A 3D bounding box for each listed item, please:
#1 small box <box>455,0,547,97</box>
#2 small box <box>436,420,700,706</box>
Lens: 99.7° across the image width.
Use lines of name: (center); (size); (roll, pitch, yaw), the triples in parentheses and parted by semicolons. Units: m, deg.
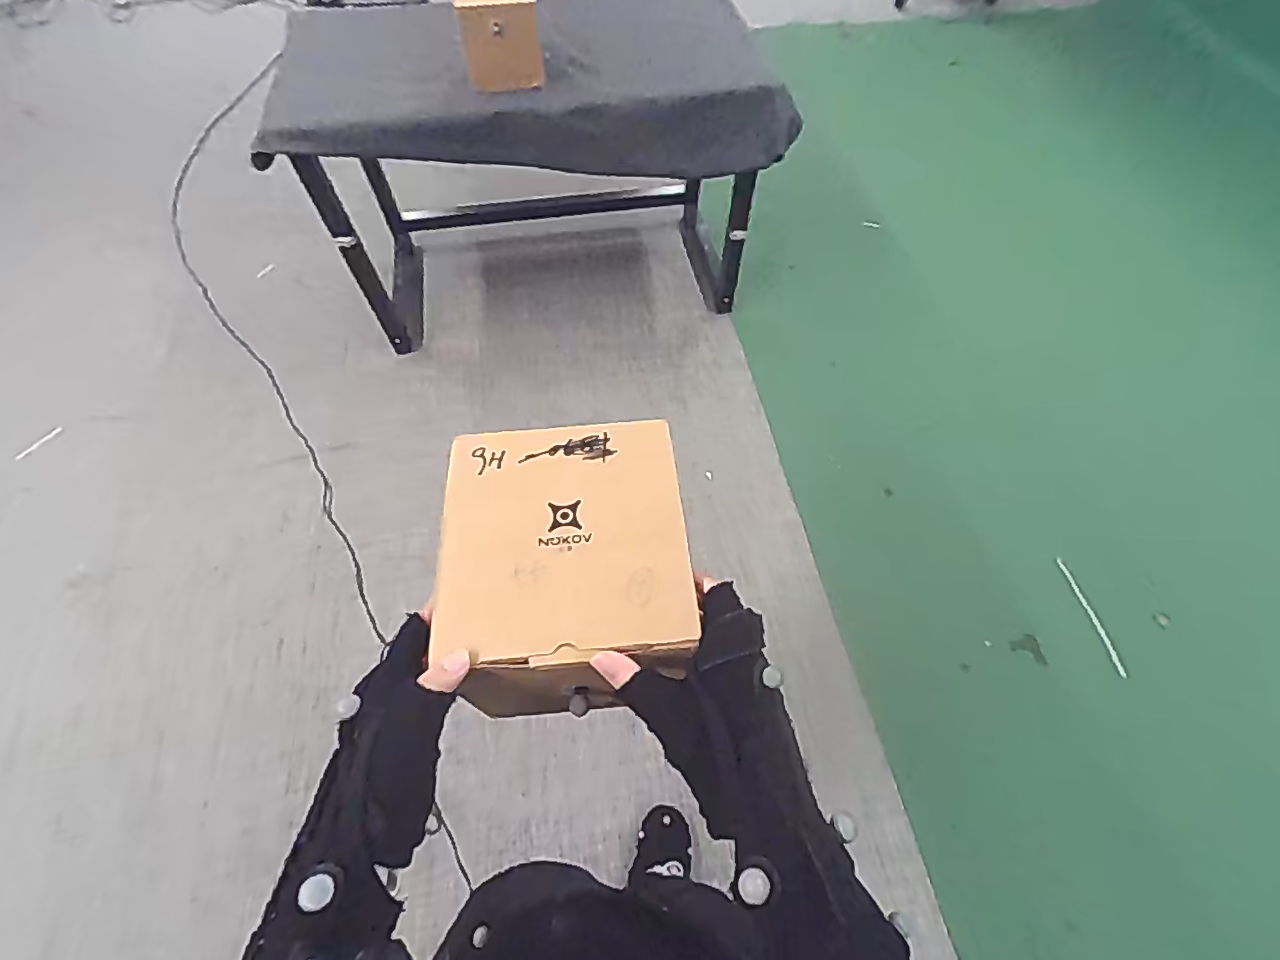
small box: (-0.321, -1.025, 1.263); (0.179, 0.176, 0.168); (-8, 61, -6)
small box: (-0.049, 0.076, 0.436); (0.168, 0.176, 0.179); (-5, 58, -3)
